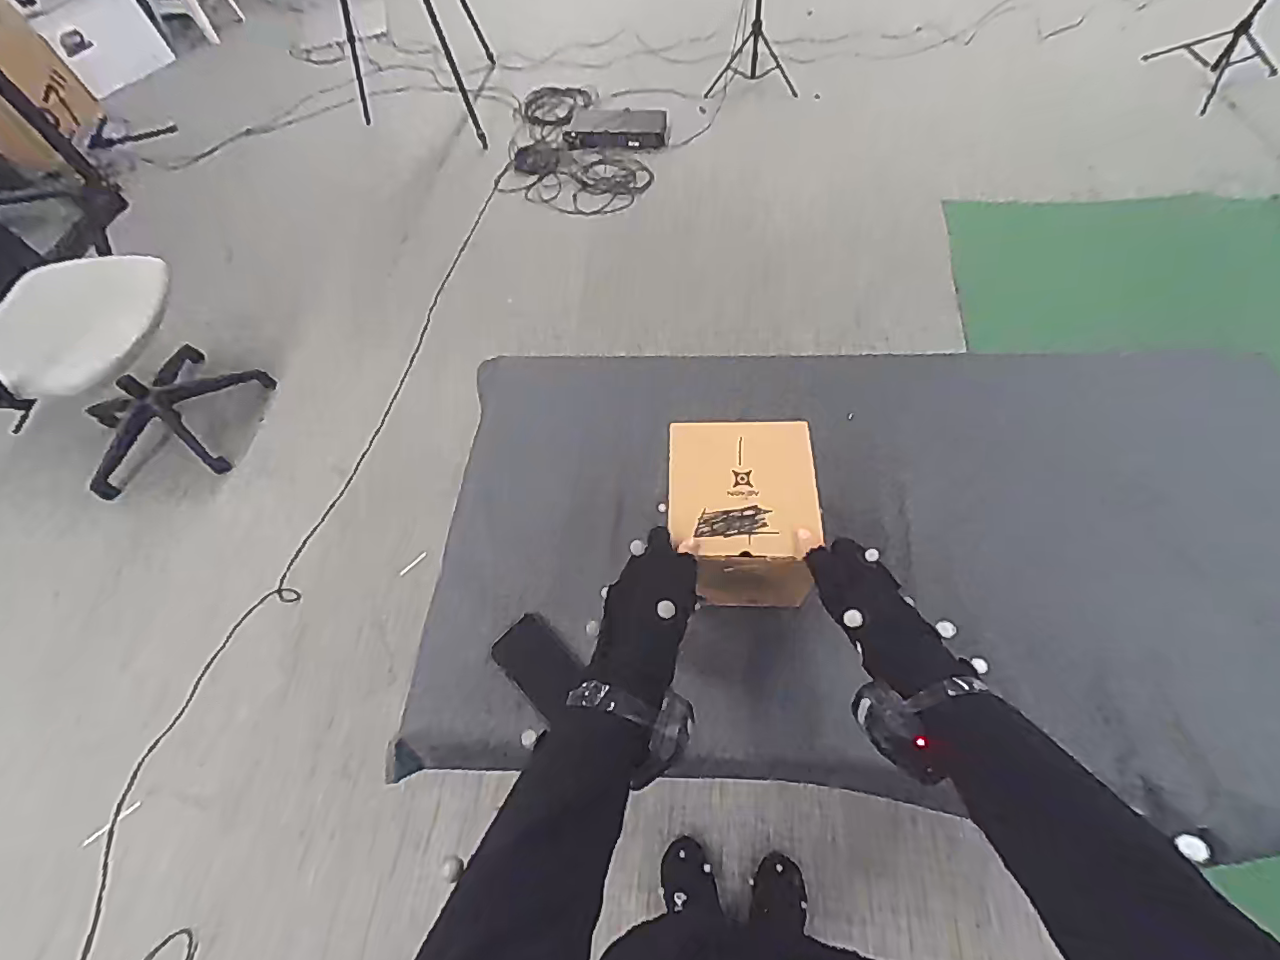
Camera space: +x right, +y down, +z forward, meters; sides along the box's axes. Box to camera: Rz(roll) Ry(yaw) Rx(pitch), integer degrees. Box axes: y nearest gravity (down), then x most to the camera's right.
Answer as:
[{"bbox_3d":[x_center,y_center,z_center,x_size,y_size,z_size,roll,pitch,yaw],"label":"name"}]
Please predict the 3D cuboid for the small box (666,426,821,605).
[{"bbox_3d":[0.121,0.051,0.680,0.168,0.176,0.179,0,59,5],"label":"small box"}]
